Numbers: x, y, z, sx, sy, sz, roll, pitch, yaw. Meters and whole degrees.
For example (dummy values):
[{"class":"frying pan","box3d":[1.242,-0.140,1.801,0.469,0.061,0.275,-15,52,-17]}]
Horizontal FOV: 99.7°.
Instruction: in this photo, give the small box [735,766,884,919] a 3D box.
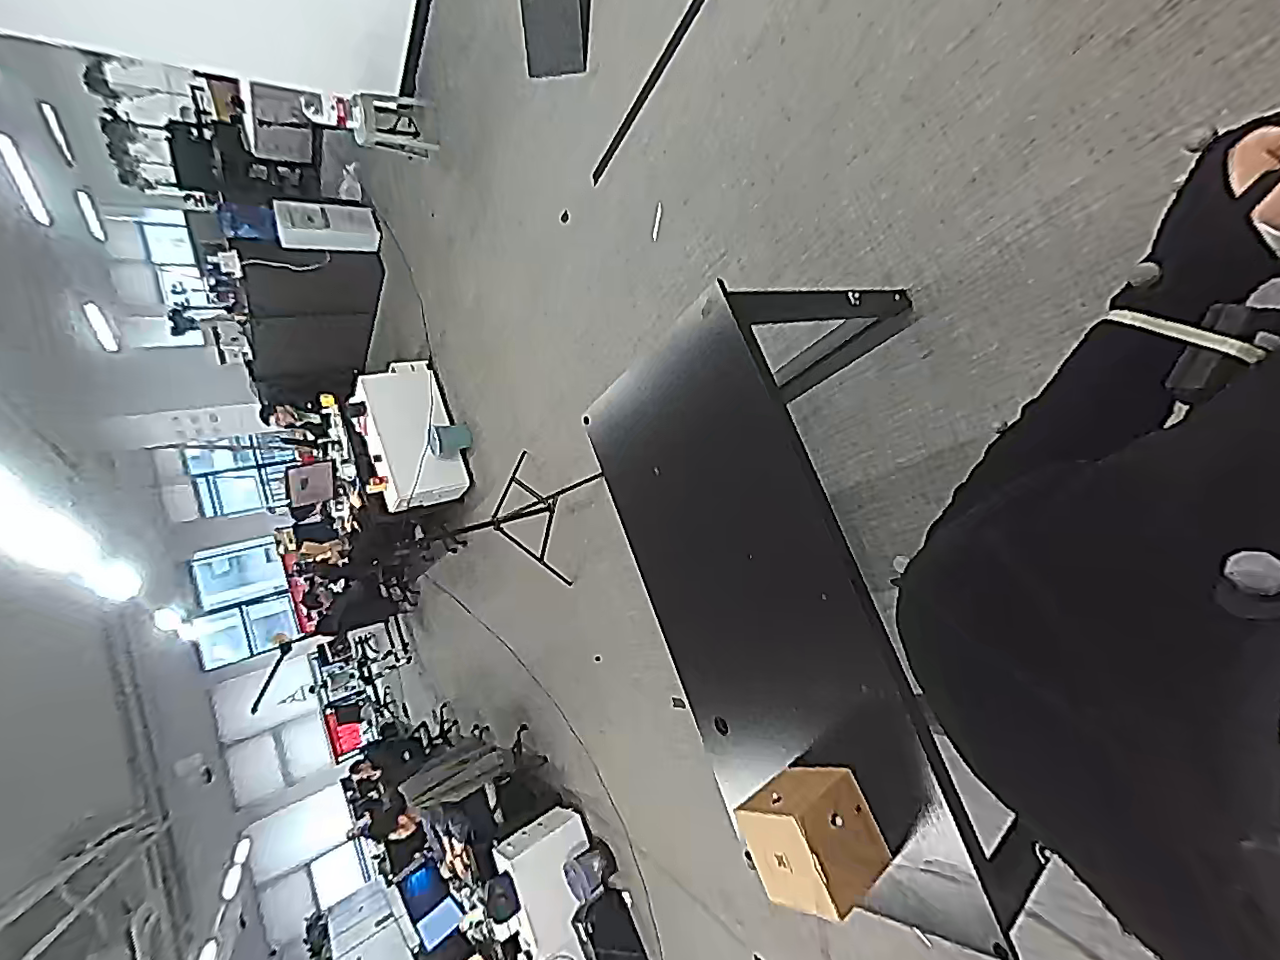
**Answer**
[{"class":"small box","box3d":[0.317,0.651,0.997,0.179,0.176,0.168,-41,67,52]}]
